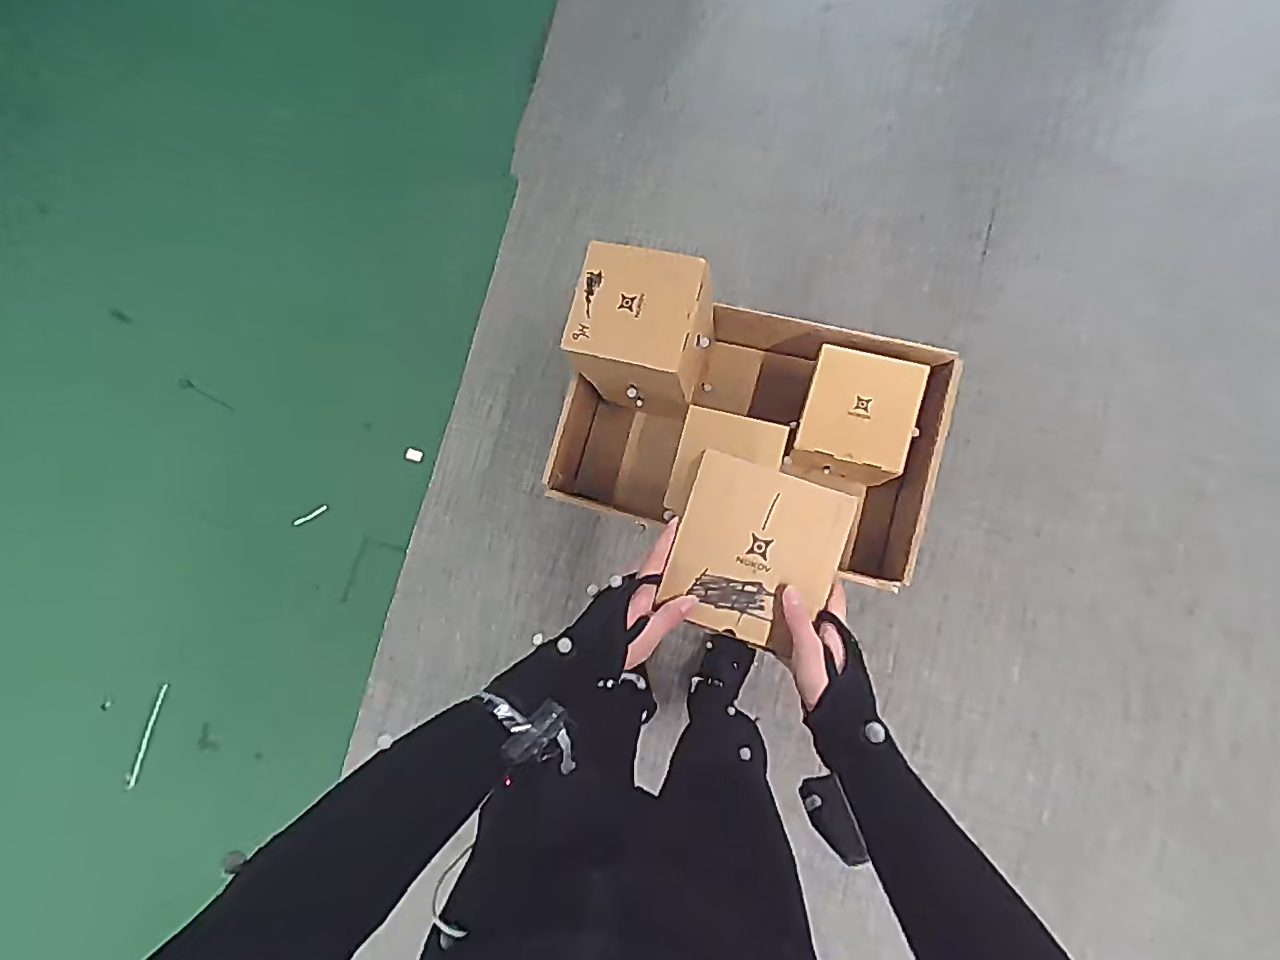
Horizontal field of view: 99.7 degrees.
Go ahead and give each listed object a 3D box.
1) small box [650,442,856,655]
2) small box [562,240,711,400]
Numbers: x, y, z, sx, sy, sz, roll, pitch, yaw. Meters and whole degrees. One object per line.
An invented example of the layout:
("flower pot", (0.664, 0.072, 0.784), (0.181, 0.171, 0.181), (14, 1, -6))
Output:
("small box", (0.116, 0.072, 0.624), (0.168, 0.176, 0.179), (19, 88, 1))
("small box", (0.005, -0.232, 0.826), (0.179, 0.176, 0.168), (15, 86, 10))
